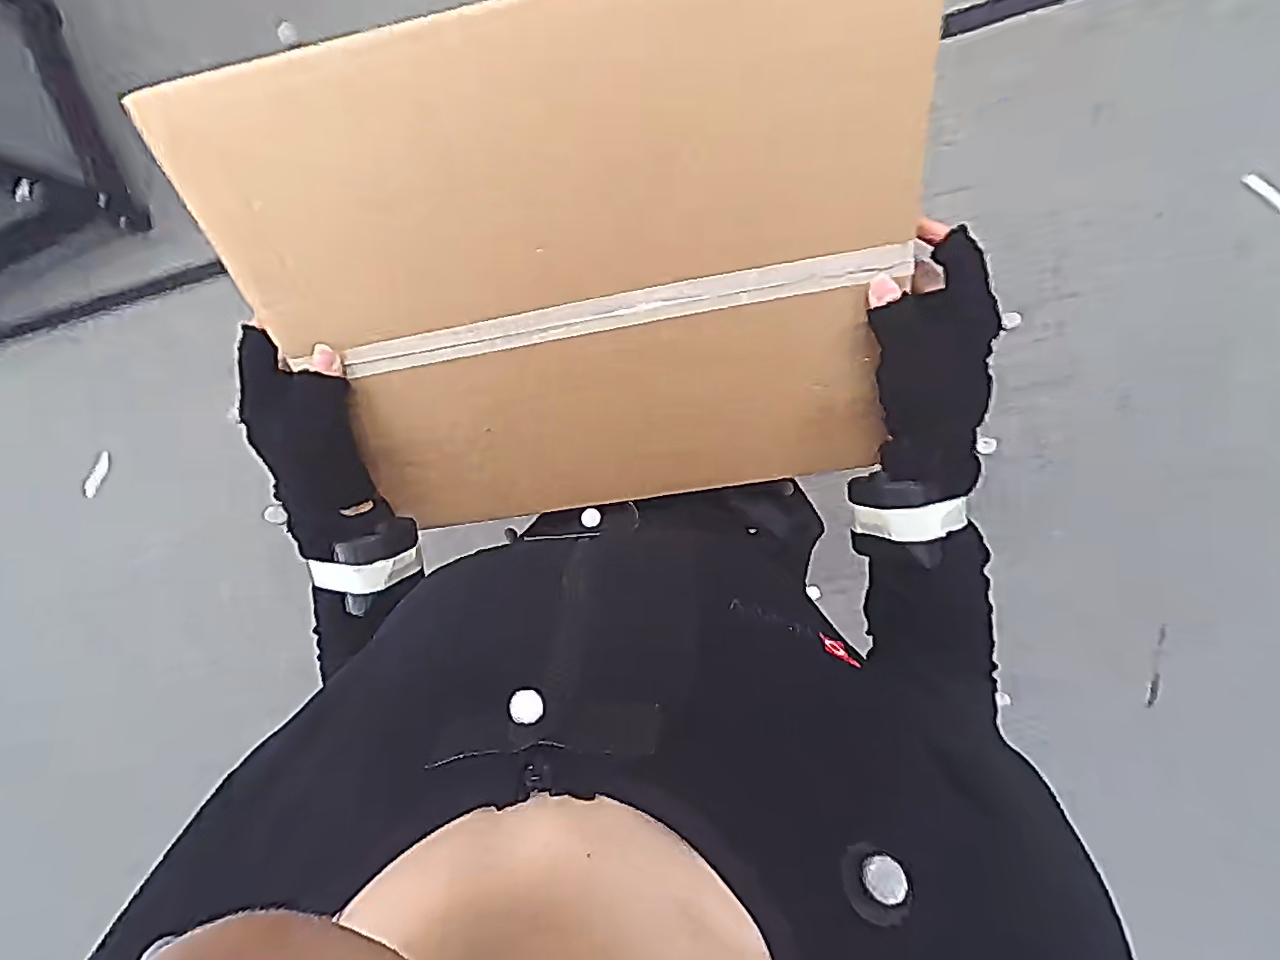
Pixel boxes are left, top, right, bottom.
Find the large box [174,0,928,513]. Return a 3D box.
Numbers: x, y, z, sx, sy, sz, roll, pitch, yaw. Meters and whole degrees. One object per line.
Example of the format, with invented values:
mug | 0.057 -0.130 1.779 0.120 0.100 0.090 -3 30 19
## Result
large box | -0.035 -0.208 0.474 0.408 0.320 0.320 -8 129 6
